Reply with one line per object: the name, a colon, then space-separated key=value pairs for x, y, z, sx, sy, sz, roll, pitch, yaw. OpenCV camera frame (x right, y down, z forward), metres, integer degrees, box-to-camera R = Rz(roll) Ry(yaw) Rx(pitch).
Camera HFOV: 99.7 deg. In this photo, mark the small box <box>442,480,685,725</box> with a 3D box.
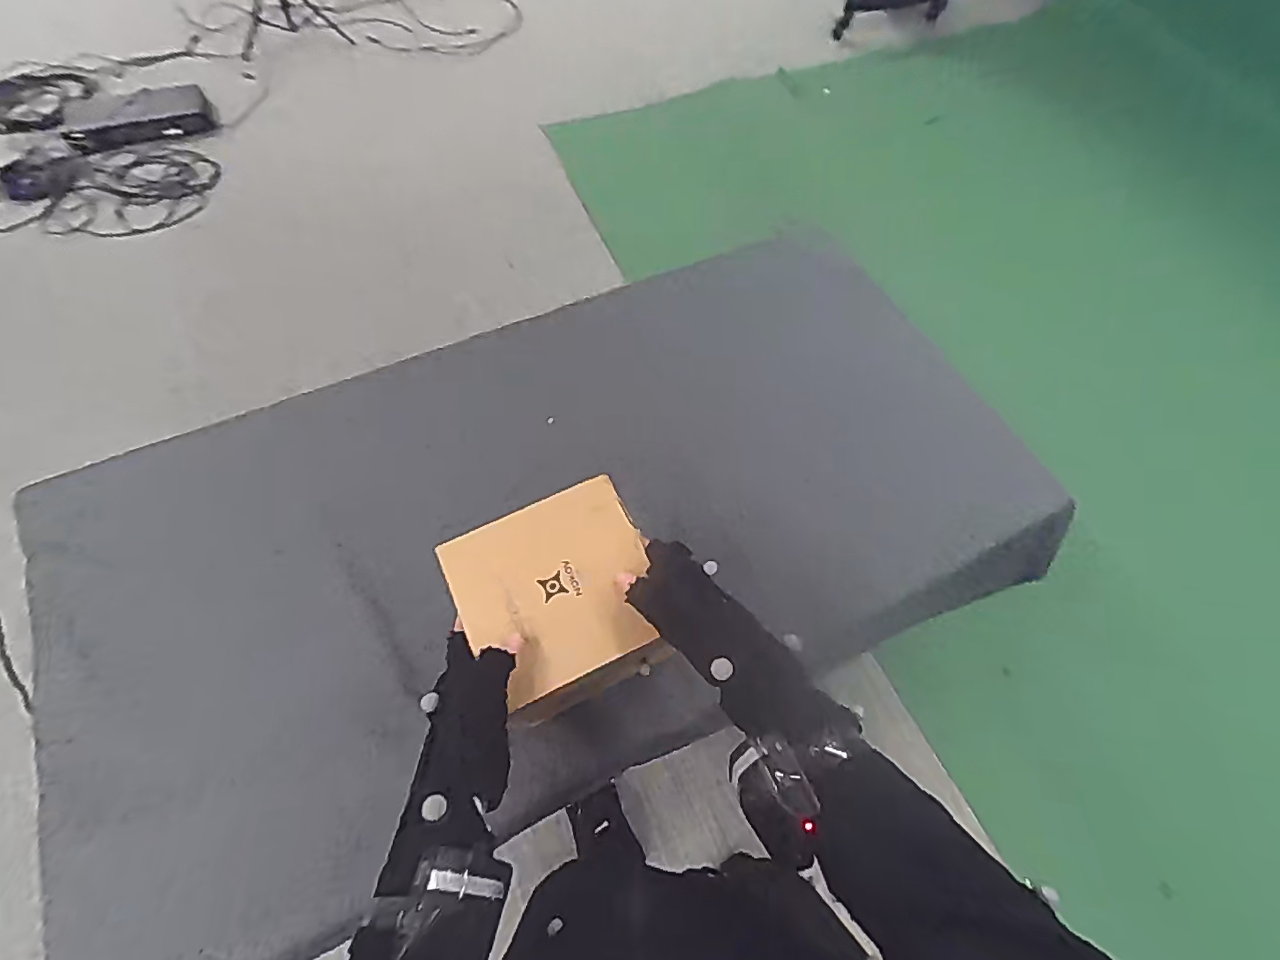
small box: x=-0.072 y=0.131 z=0.557 sx=0.179 sy=0.176 sz=0.168 roll=-25 pitch=67 yaw=-10
